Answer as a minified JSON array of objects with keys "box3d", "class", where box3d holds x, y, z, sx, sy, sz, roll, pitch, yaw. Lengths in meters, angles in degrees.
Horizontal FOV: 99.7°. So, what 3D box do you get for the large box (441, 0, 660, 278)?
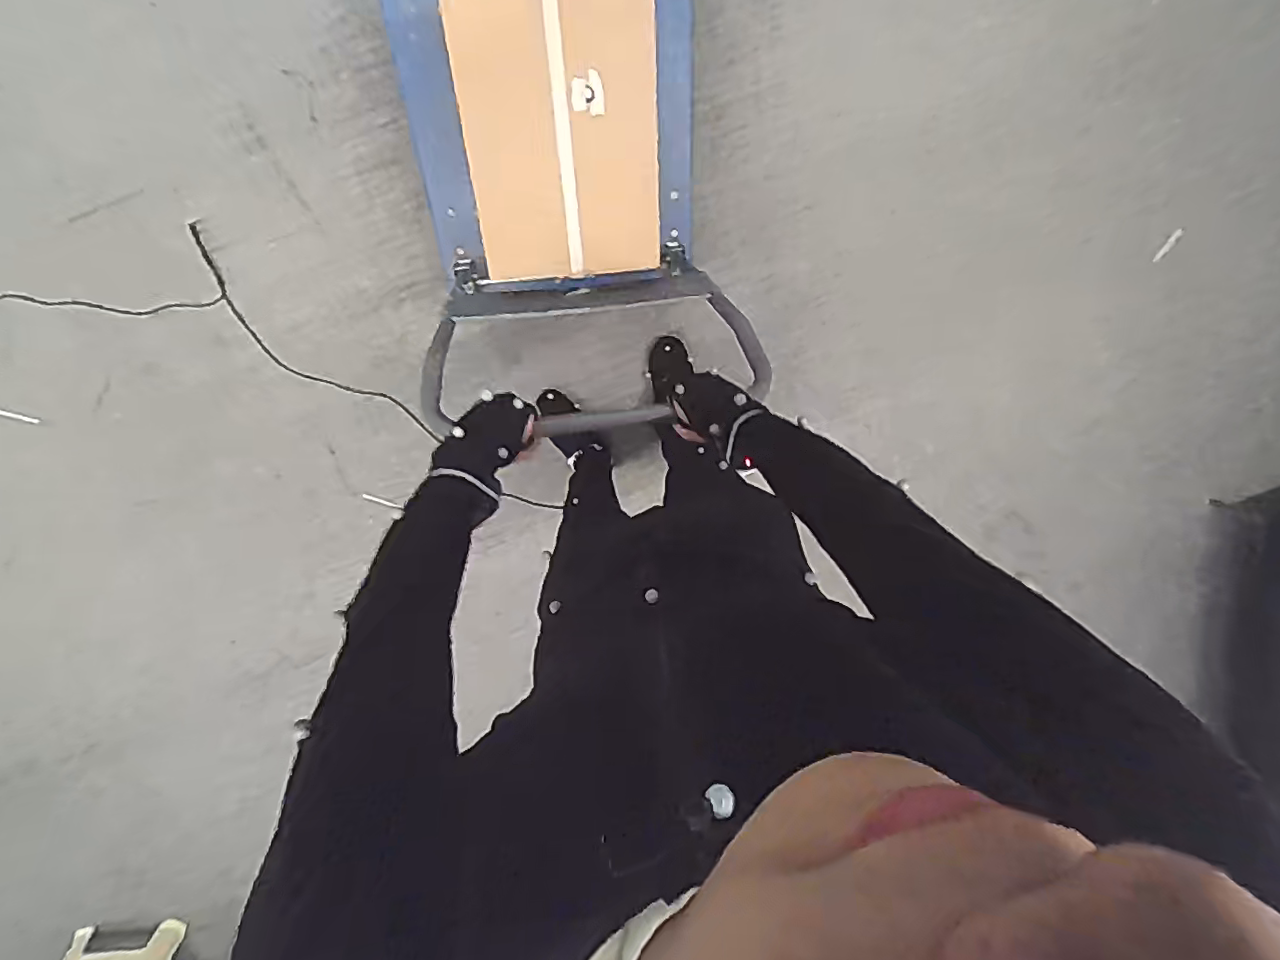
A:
[{"box3d":[-0.145,-0.629,1.019,0.320,0.320,0.408,-7,122,-6],"class":"large box"}]
